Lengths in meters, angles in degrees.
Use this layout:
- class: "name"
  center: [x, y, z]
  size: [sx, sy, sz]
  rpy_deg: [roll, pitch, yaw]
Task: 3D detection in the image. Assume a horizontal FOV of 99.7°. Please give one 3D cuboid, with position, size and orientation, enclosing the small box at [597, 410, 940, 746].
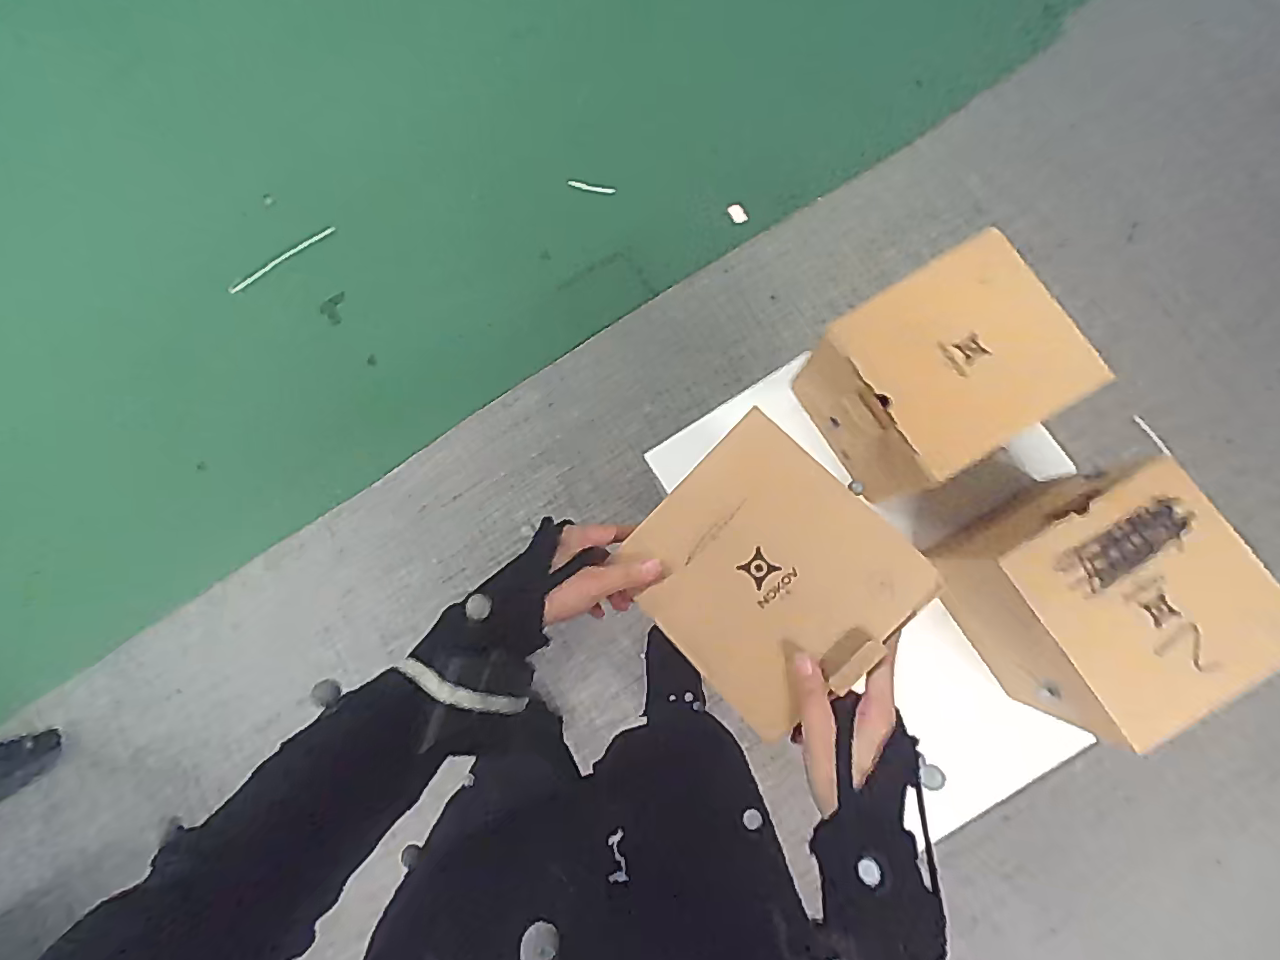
- class: "small box"
  center: [0.101, 0.071, 0.450]
  size: [0.179, 0.176, 0.168]
  rpy_deg: [44, 96, 16]

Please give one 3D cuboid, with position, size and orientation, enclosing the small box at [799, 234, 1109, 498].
- class: "small box"
  center: [0.287, -0.097, 0.543]
  size: [0.179, 0.176, 0.168]
  rpy_deg: [-31, 81, 0]
